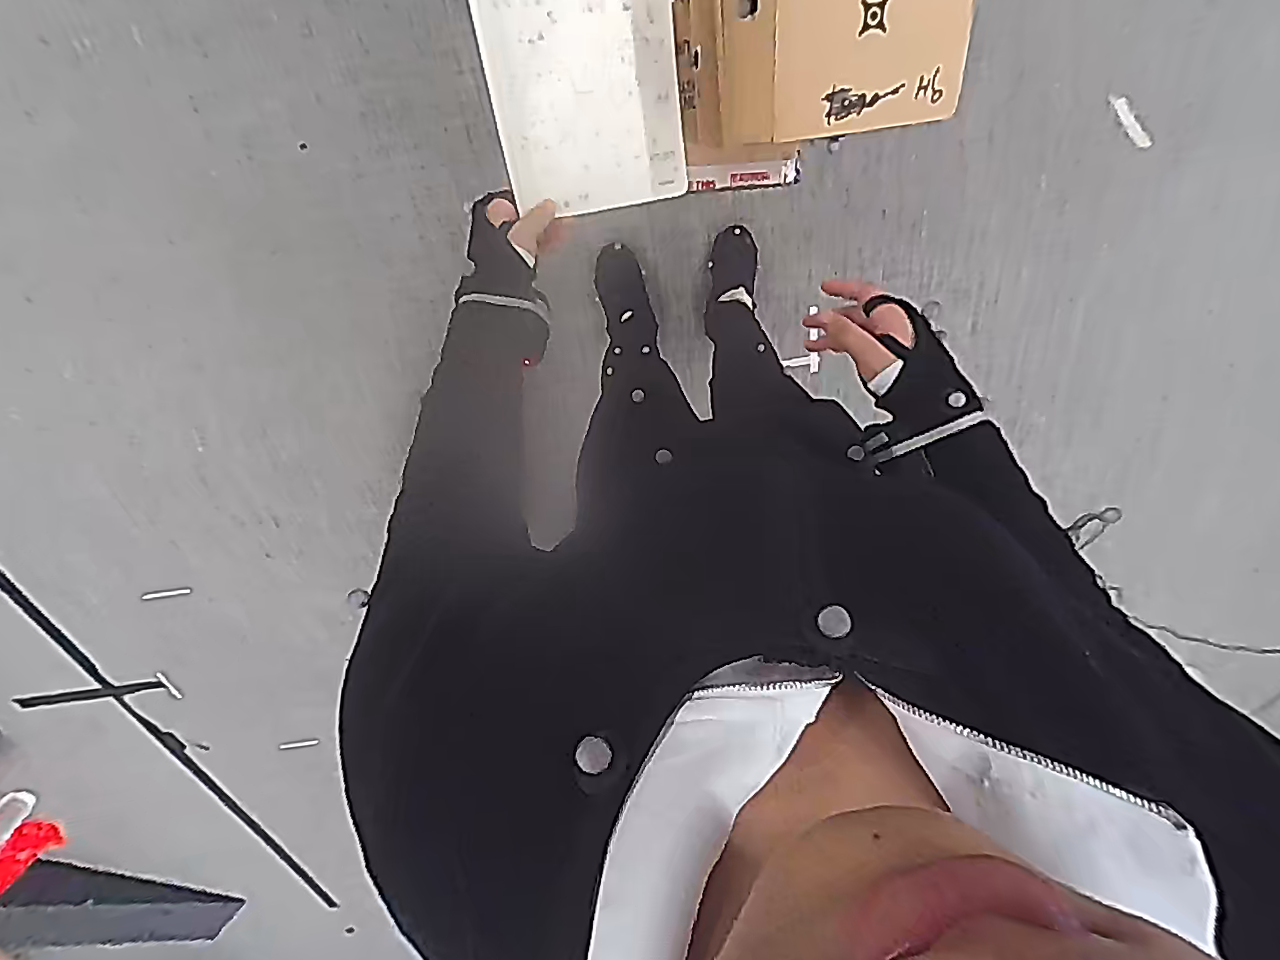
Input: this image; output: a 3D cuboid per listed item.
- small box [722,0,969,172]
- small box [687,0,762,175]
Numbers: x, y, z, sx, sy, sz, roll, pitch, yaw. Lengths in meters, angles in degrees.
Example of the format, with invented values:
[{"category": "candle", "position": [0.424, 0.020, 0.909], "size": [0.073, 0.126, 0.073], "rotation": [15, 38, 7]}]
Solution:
[{"category": "small box", "position": [0.177, -0.402, 0.512], "size": [0.168, 0.176, 0.179], "rotation": [-9, 122, -2]}, {"category": "small box", "position": [0.163, -0.482, 0.655], "size": [0.179, 0.176, 0.168], "rotation": [-11, 123, 0]}]
